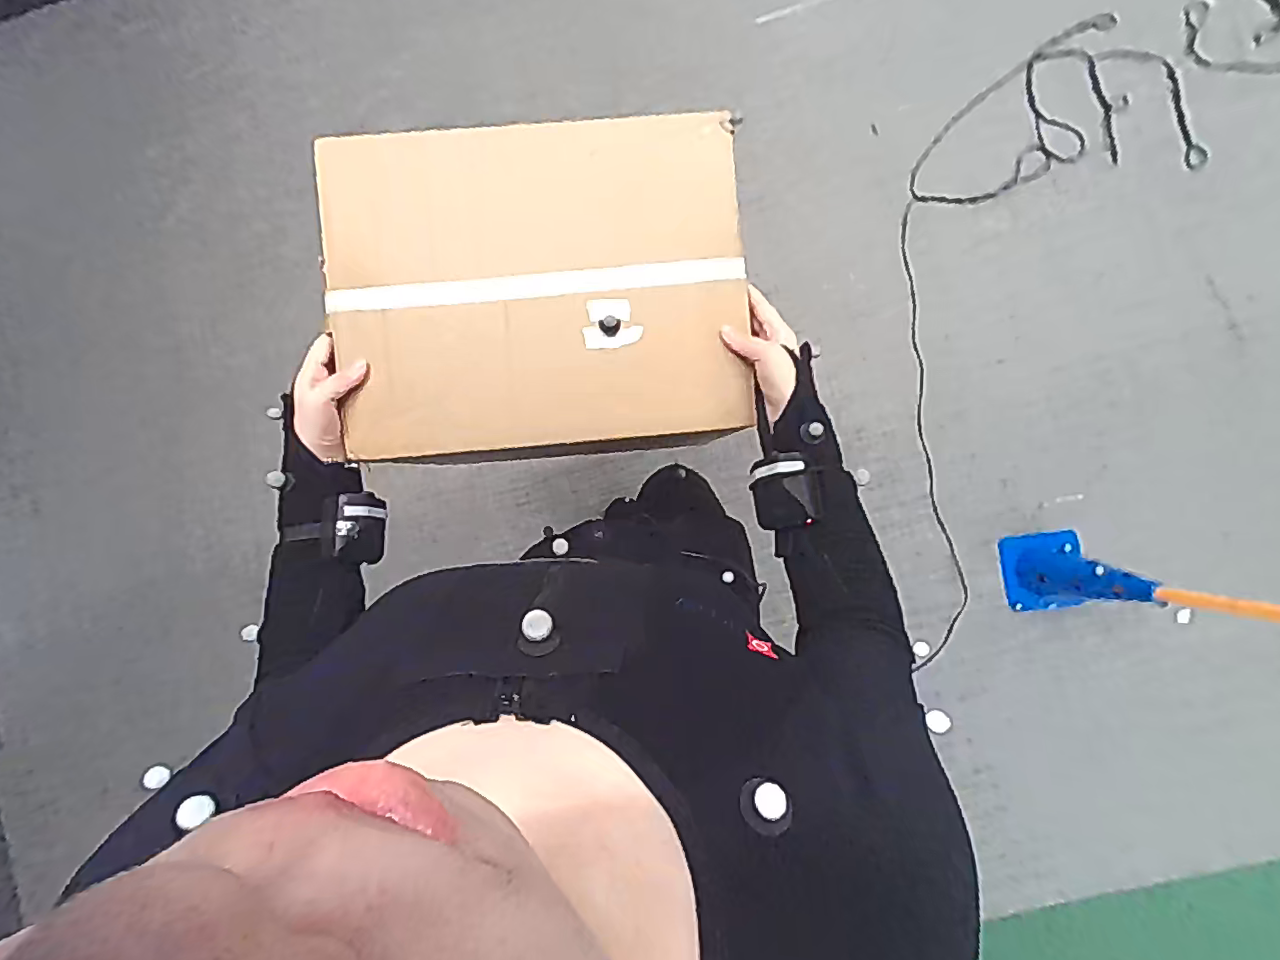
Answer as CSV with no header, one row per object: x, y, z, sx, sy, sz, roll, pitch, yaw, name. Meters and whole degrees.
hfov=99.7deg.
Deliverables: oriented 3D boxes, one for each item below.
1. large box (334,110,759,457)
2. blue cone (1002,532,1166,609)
-0.098,-0.203,0.684,0.408,0.320,0.320,-5,92,-3,large box
1.044,0.233,1.259,0.193,0.380,0.192,-7,88,5,blue cone
